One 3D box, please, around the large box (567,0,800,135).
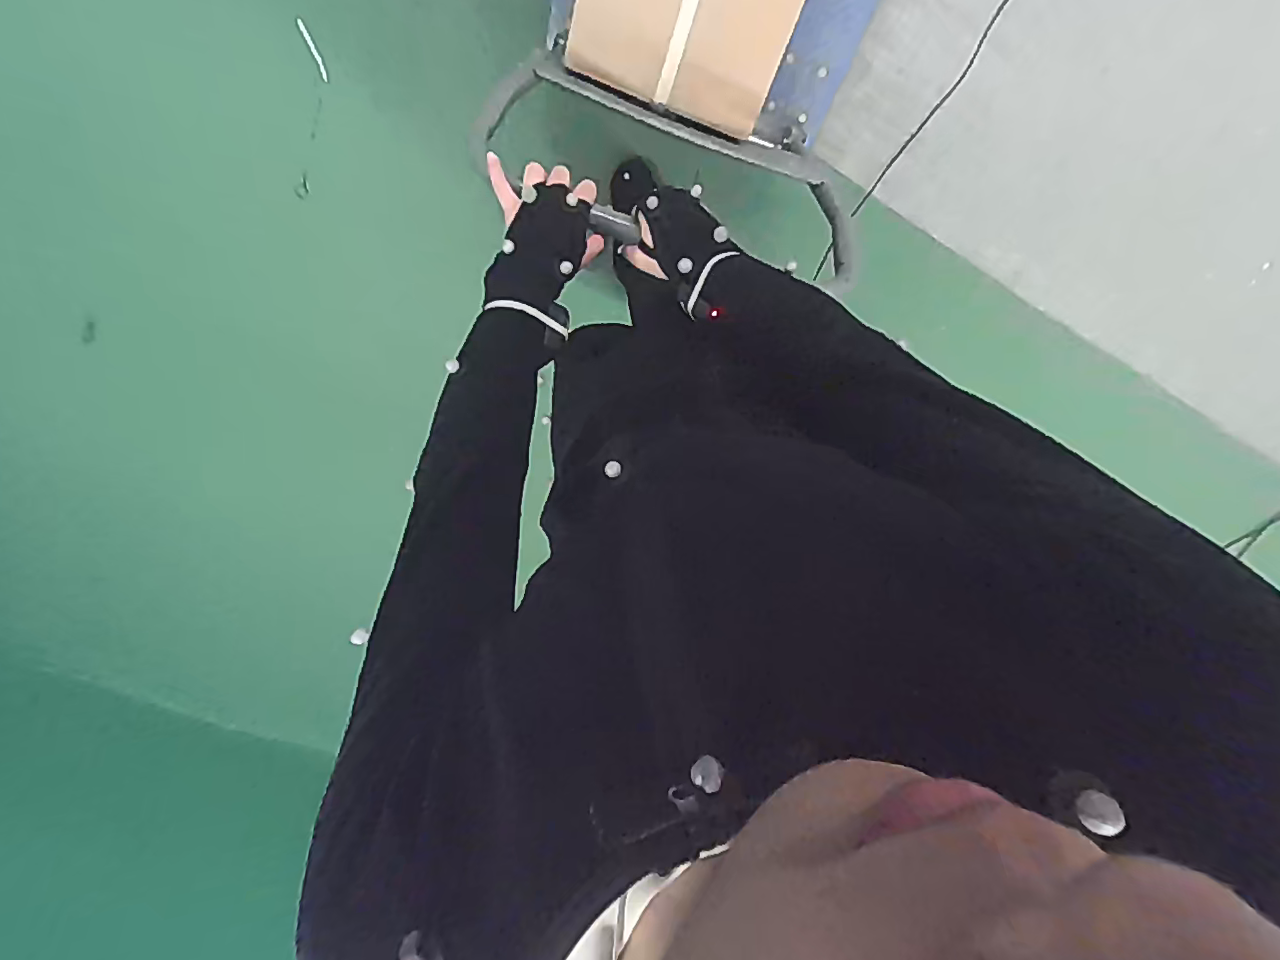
[{"bbox_3d":[0.098,-0.837,0.856,0.320,0.320,0.408,16,128,-10],"label":"large box"}]
